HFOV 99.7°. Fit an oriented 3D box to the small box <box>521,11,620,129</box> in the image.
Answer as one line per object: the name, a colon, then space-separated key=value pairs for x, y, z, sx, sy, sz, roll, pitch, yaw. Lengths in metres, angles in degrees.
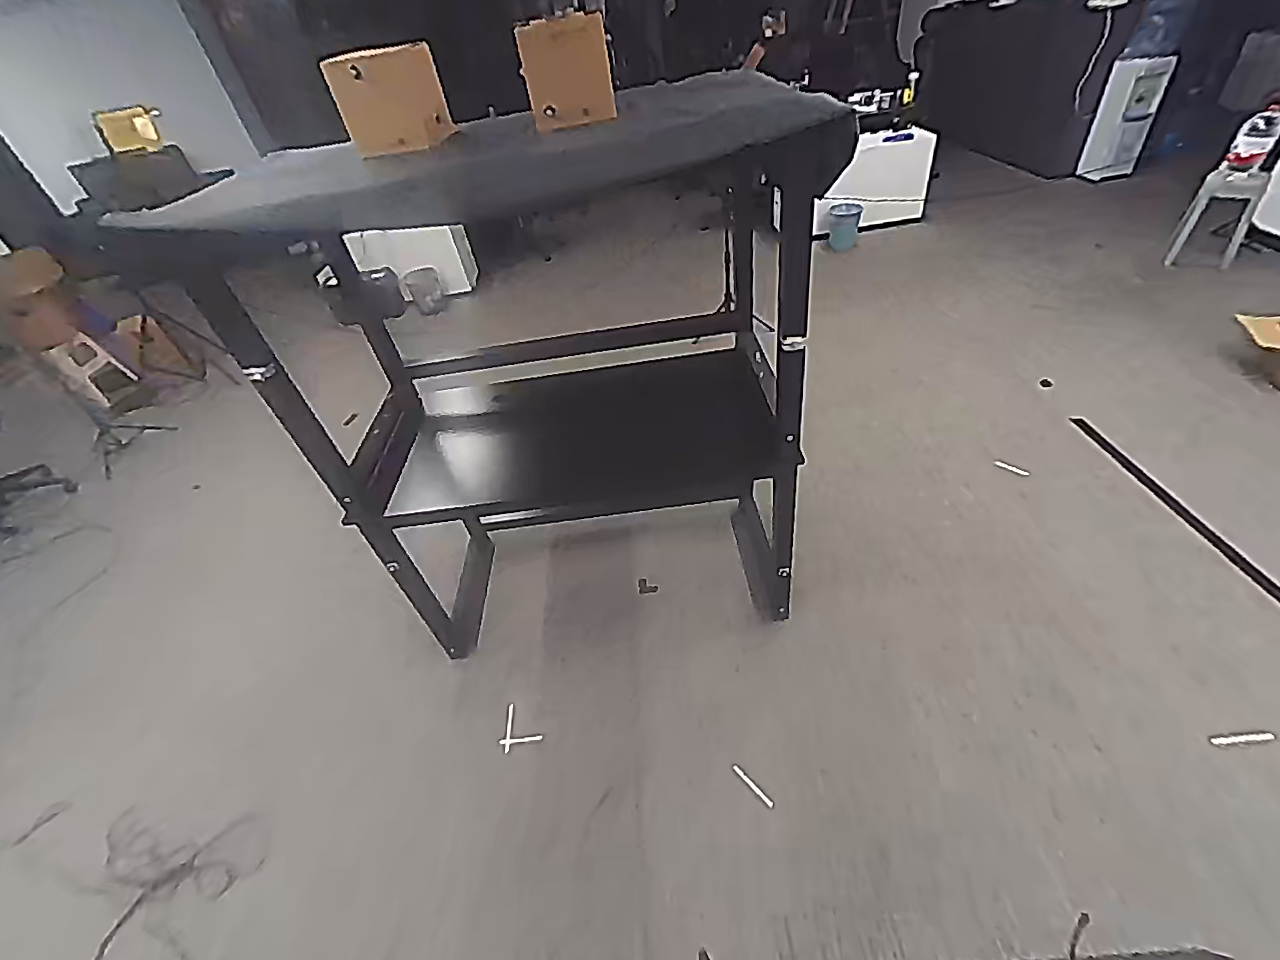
small box: x=-0.137 y=-0.839 z=1.112 sx=0.168 sy=0.176 sz=0.179 roll=-9 pitch=40 yaw=1

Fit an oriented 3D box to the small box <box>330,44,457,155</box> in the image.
small box: x=-0.511 y=-0.811 z=1.155 sx=0.168 sy=0.176 sz=0.179 roll=-4 pitch=42 yaw=7
